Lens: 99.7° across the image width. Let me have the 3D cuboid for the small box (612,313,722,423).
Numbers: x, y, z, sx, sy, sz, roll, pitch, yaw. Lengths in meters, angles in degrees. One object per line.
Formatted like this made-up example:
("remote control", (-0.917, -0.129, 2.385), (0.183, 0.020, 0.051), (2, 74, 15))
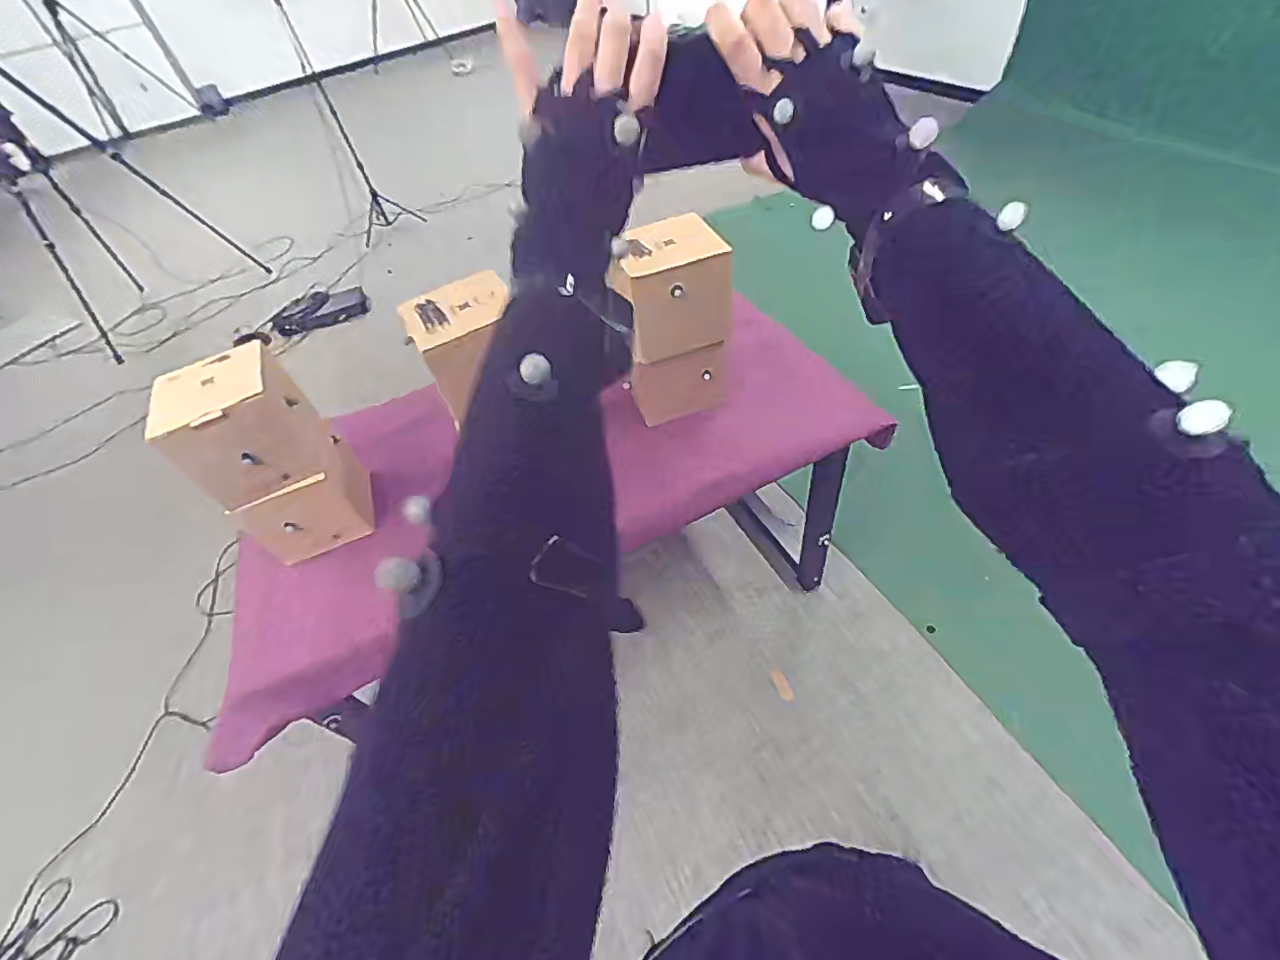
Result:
("small box", (0.057, -0.244, 1.096), (0.179, 0.176, 0.168), (-18, 49, -5))

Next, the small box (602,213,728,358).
("small box", (0.048, -0.342, 0.964), (0.179, 0.176, 0.168), (-18, 49, -6))

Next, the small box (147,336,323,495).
("small box", (-0.648, -0.098, 0.885), (0.168, 0.176, 0.179), (-26, 51, -12))

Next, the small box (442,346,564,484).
("small box", (-0.258, -0.124, 1.051), (0.179, 0.176, 0.168), (-23, 50, -9))

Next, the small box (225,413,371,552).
("small box", (-0.622, 0.012, 1.005), (0.168, 0.176, 0.179), (-22, 50, -9))
